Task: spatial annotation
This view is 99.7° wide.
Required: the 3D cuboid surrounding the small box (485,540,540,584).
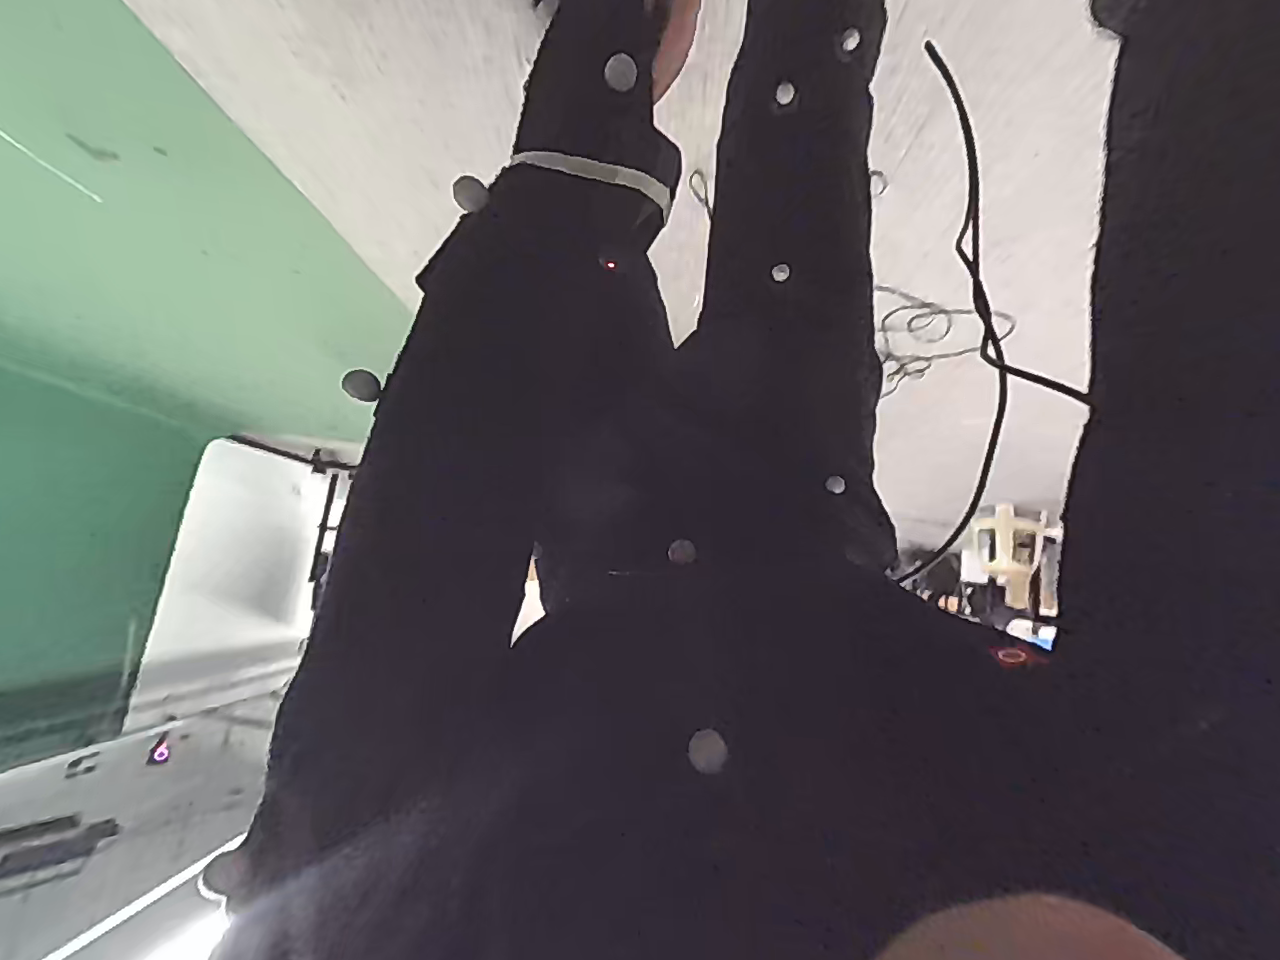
[{"bbox_3d":[-0.551,0.357,2.353,0.168,0.176,0.179,6,171,14],"label":"small box"}]
